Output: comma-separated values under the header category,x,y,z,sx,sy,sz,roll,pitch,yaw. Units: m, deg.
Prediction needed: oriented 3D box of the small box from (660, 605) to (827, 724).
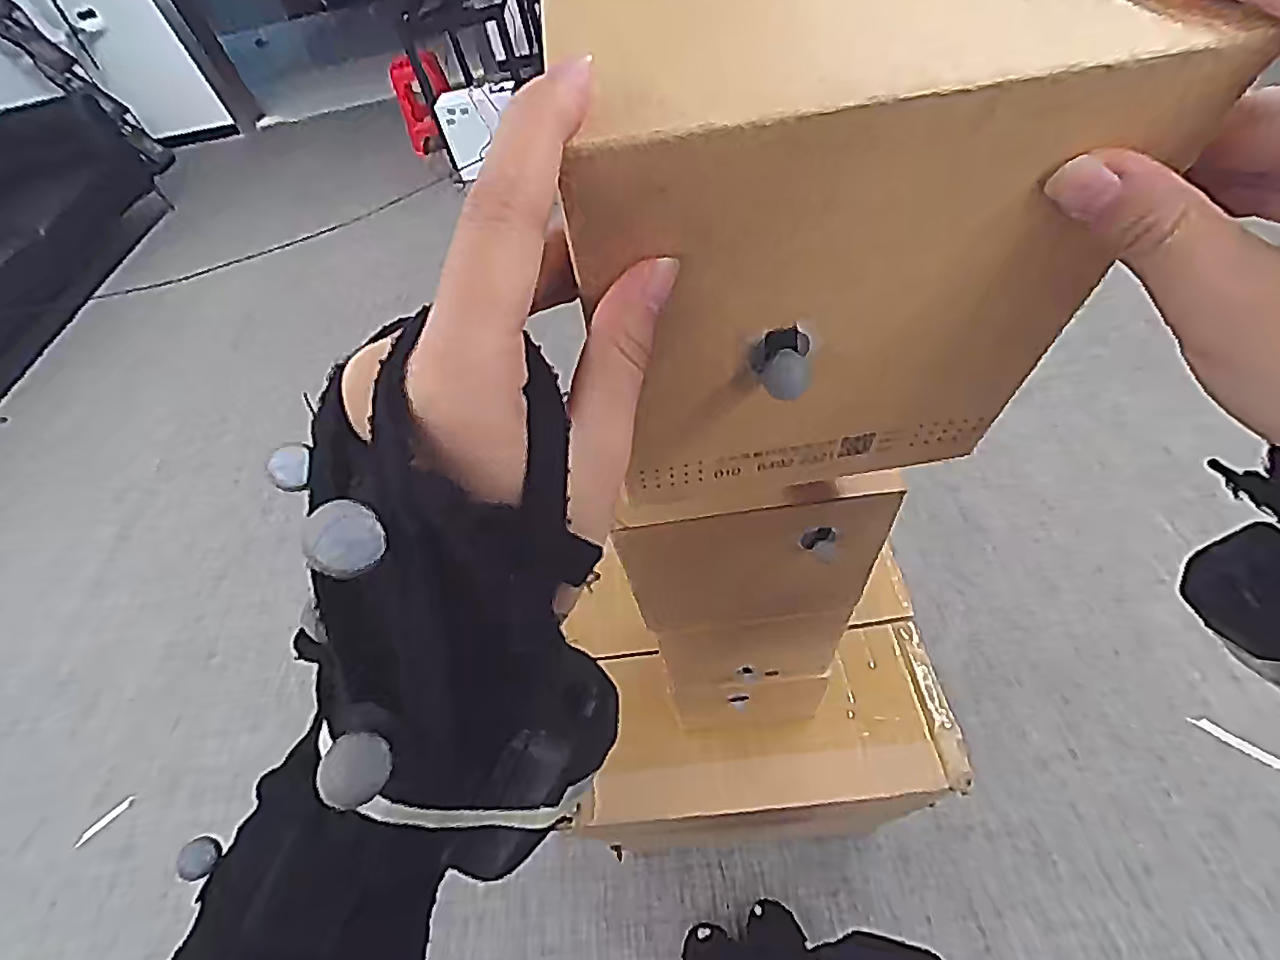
category,x,y,z,sx,sy,sz,roll,pitch,yaw
small box,0.121,0.199,0.683,0.179,0.176,0.168,-8,53,5

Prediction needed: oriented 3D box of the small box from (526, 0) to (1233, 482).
category,x,y,z,sx,sy,sz,roll,pitch,yaw
small box,0.054,-0.113,0.236,0.168,0.176,0.179,-9,57,1

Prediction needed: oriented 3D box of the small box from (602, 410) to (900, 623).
category,x,y,z,sx,sy,sz,roll,pitch,yaw
small box,0.071,-0.001,0.426,0.179,0.176,0.168,-8,53,5
